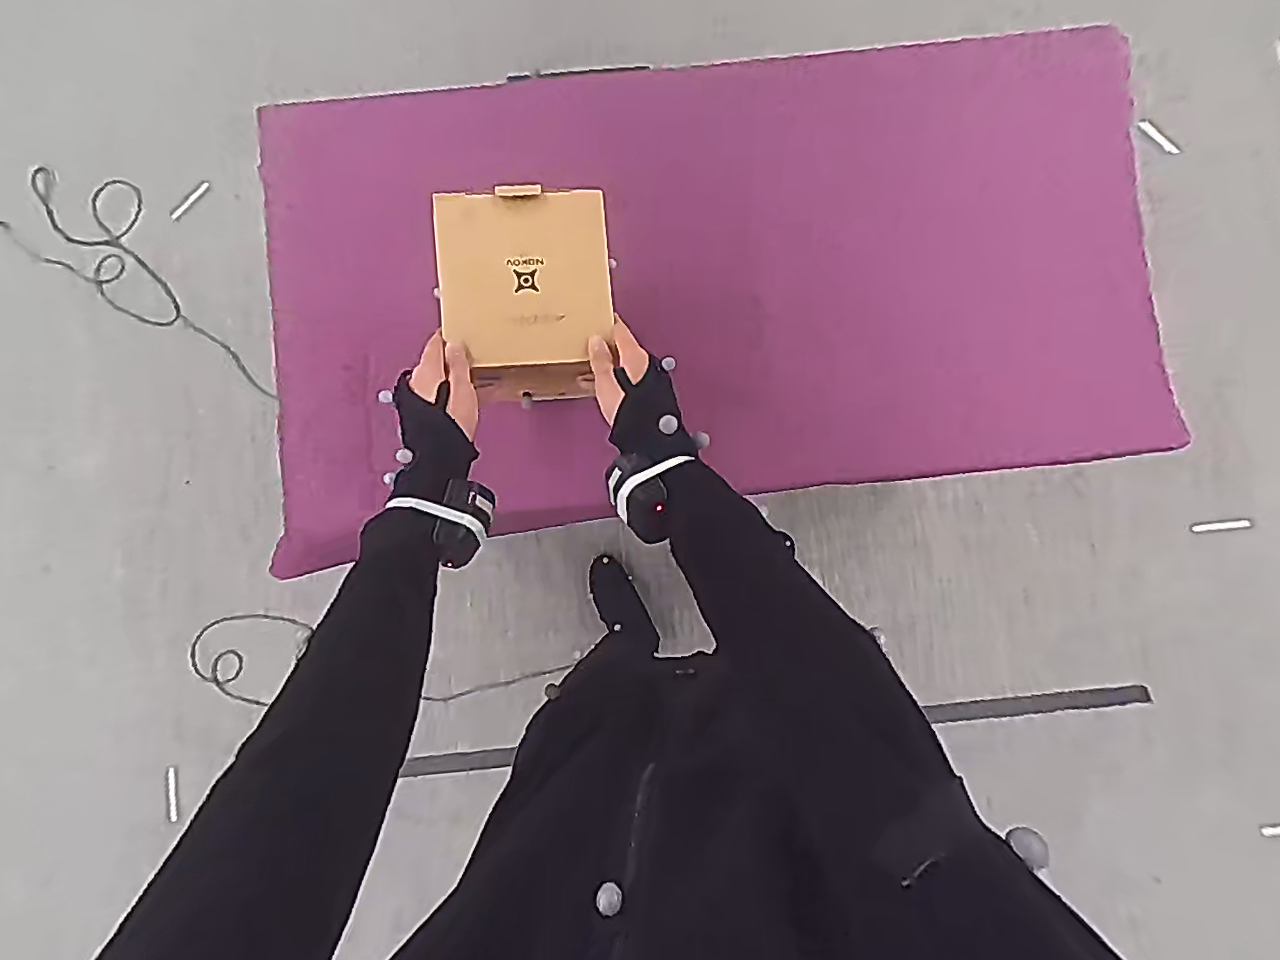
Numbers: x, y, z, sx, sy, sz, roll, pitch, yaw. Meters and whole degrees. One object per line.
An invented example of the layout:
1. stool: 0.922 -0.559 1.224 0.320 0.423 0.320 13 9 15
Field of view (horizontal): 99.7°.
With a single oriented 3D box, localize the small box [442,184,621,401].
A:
1. small box: -0.112 -0.193 0.594 0.168 0.176 0.179 -4 87 -6
